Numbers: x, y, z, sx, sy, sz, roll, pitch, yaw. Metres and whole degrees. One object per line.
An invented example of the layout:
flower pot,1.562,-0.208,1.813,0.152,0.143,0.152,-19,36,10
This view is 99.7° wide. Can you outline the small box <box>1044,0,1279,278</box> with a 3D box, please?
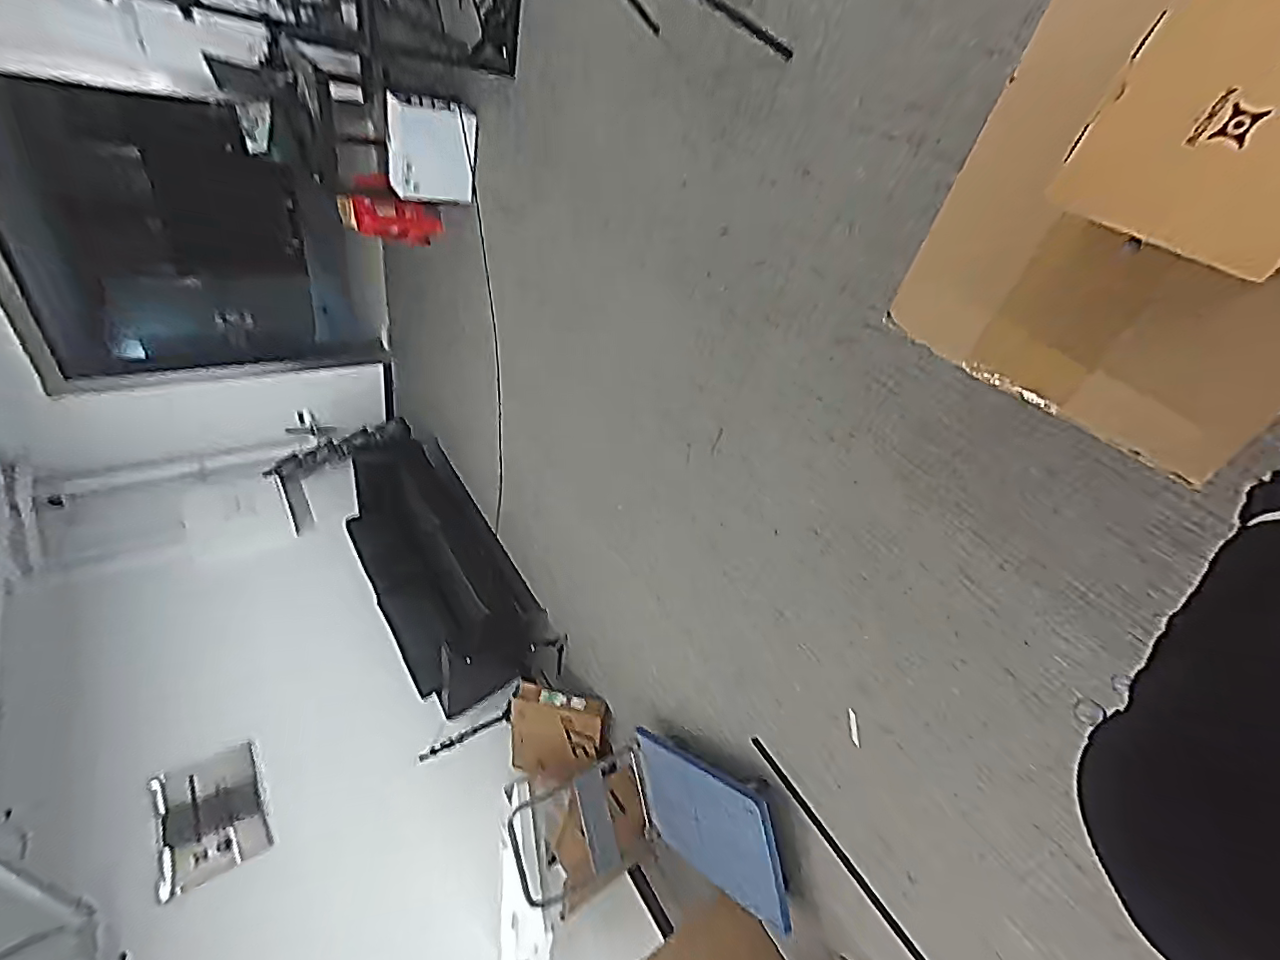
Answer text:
small box,0.483,-0.276,0.421,0.179,0.176,0.168,49,139,33
